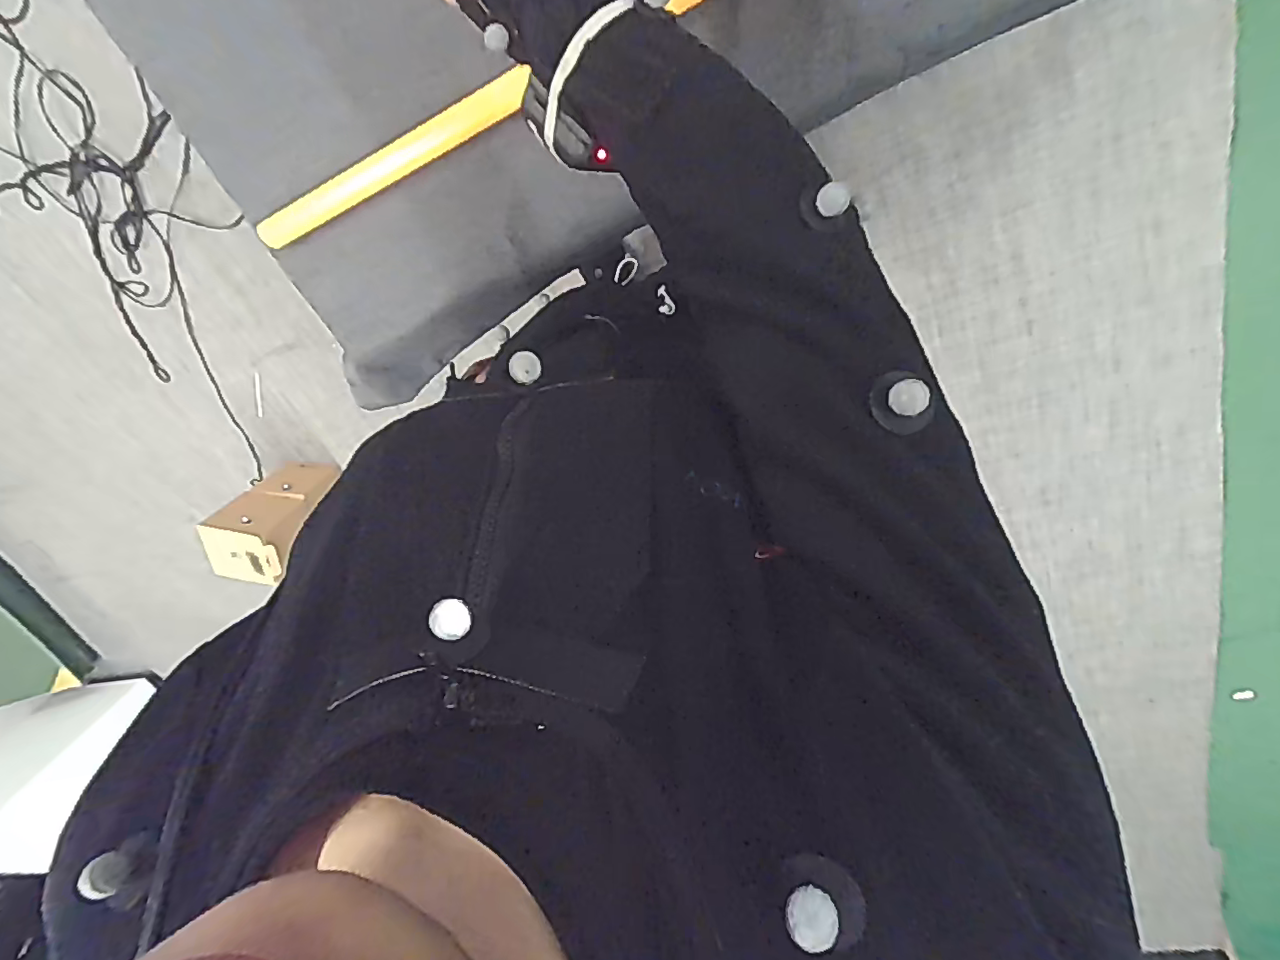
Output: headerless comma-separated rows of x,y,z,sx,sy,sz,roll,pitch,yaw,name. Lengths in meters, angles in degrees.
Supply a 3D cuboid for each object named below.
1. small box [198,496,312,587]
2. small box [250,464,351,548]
-1.020,0.161,1.457,0.179,0.176,0.168,9,121,4,small box
-0.988,0.075,1.594,0.168,0.176,0.179,5,121,6,small box
